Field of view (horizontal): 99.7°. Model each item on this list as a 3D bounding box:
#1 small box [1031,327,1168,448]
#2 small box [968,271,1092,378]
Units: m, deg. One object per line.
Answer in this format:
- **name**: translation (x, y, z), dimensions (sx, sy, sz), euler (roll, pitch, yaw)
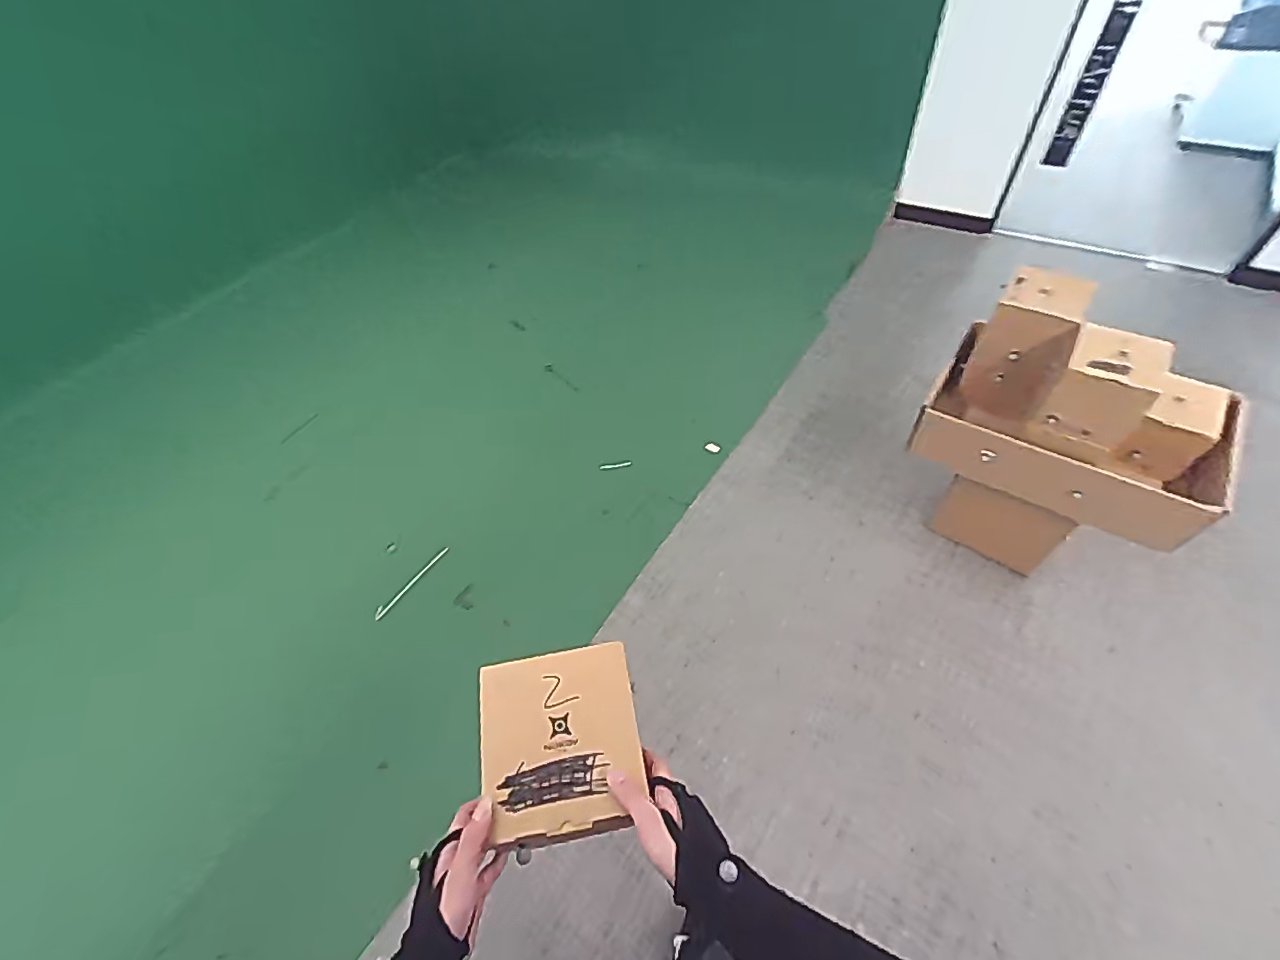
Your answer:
- **small box**: translation (1.002, -0.201, 1.192), dimensions (0.168, 0.176, 0.179), euler (26, 60, 24)
- **small box**: translation (0.956, -0.380, 1.335), dimensions (0.179, 0.176, 0.168), euler (28, 62, 24)
